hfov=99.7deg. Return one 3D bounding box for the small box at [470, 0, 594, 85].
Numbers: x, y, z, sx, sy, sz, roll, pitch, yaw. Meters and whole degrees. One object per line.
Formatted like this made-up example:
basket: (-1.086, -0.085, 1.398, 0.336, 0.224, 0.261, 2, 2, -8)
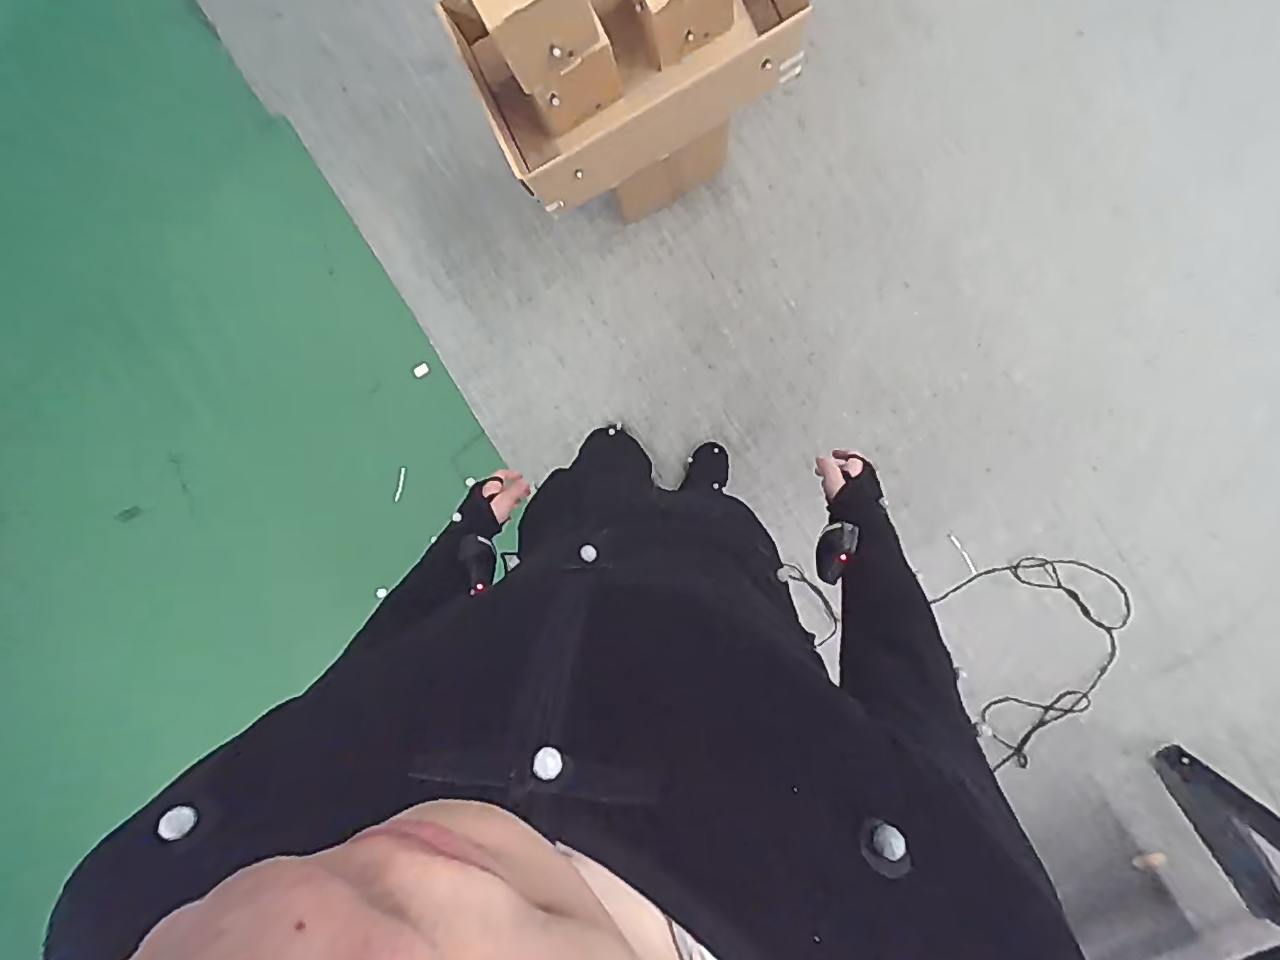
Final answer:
small box: (-0.198, -0.815, 0.890, 0.168, 0.176, 0.179, -28, 93, 10)
